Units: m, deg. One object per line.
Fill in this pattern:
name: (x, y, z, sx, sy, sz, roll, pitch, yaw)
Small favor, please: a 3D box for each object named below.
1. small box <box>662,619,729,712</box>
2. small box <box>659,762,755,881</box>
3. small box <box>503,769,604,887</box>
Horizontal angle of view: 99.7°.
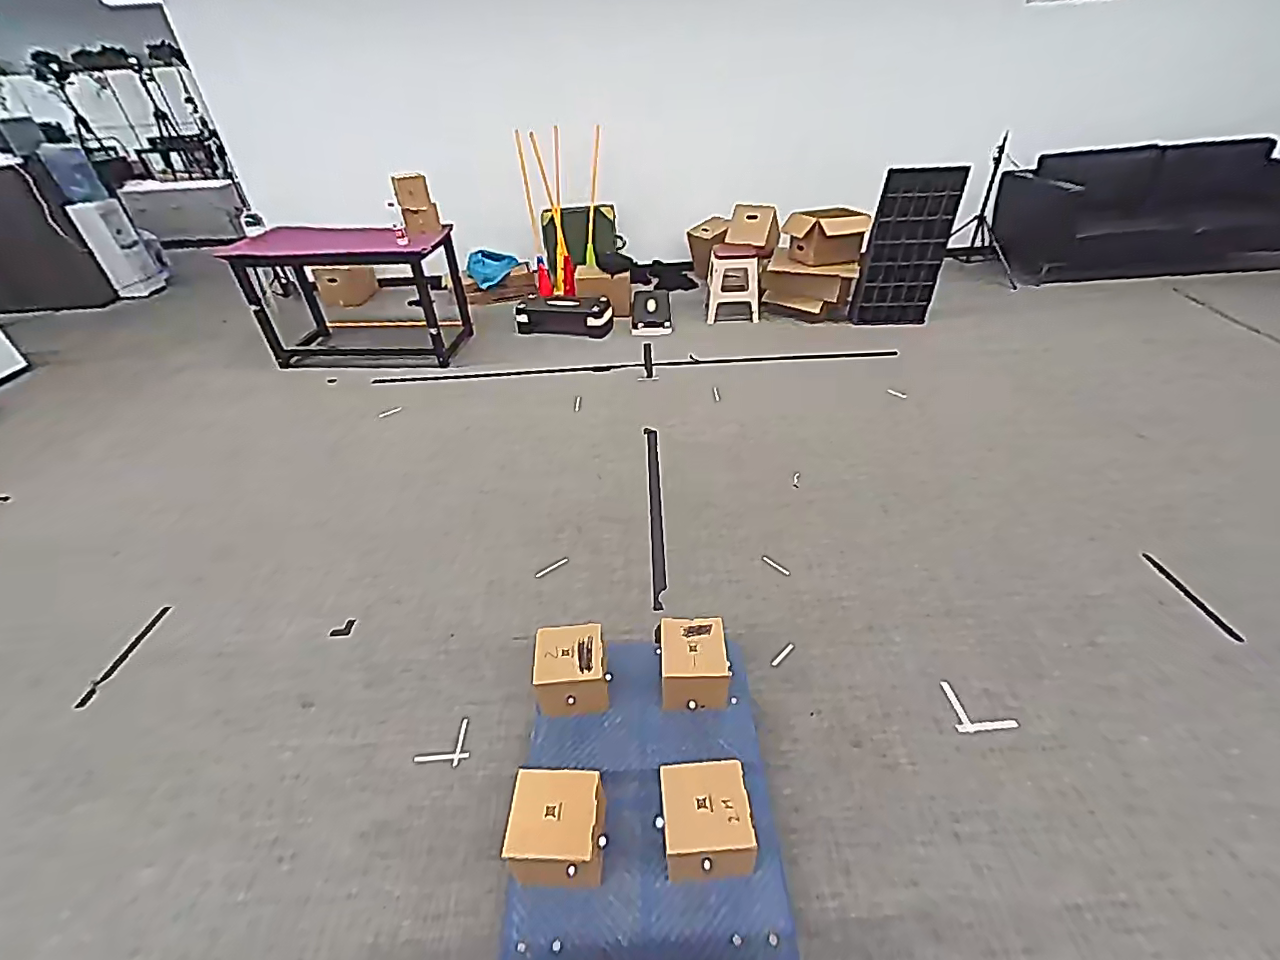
small box: (0.141, 0.490, 1.434, 0.168, 0.176, 0.179, -1, 39, 2)
small box: (0.136, 0.720, 1.138, 0.179, 0.176, 0.168, -4, 38, -1)
small box: (-0.173, 0.735, 1.141, 0.179, 0.176, 0.168, 0, 37, 2)
